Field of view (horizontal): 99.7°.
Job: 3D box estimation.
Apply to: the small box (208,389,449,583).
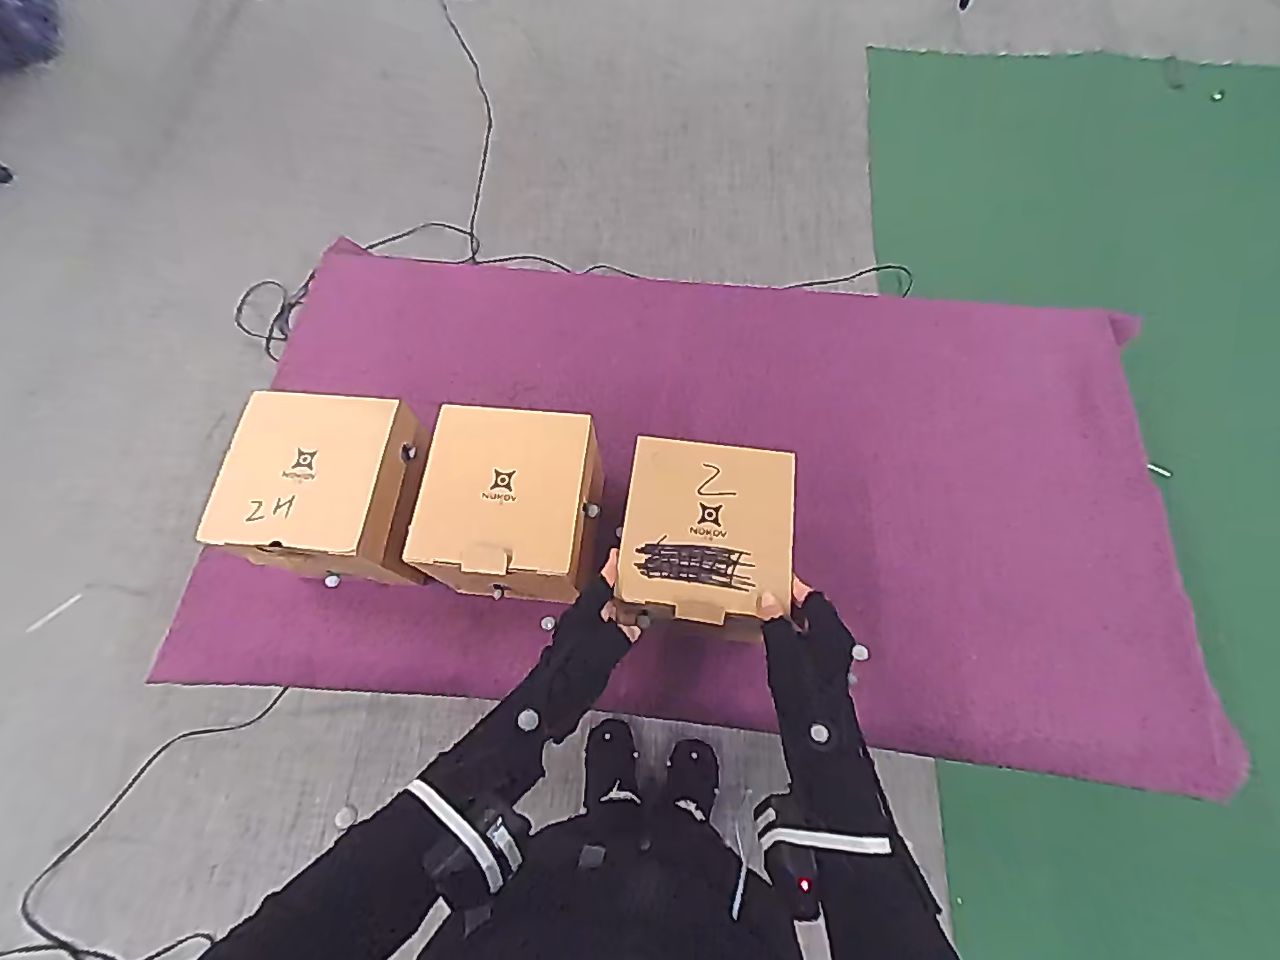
[{"bbox_3d":[-0.344,0.014,0.642,0.168,0.176,0.179,4,69,3],"label":"small box"}]
